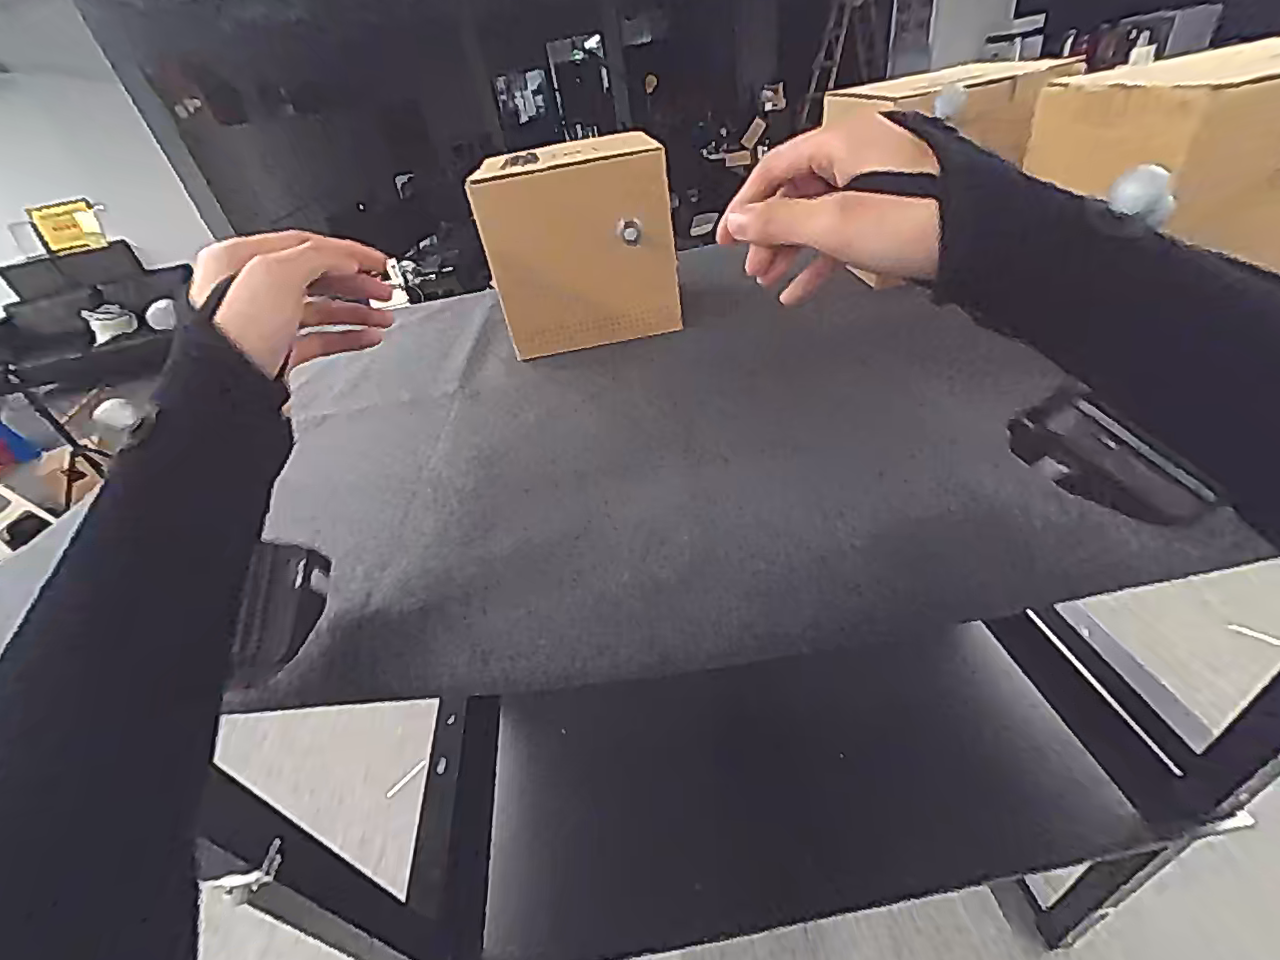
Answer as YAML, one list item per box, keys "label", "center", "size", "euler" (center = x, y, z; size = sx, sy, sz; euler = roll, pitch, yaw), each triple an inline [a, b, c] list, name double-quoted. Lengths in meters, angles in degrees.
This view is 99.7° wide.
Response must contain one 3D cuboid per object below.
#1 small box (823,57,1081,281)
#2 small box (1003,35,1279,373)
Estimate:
- label: "small box"
  center: [0.305, -0.324, 0.575]
  size: [0.168, 0.176, 0.179]
  euler: [-10, 36, 2]
- label: "small box"
  center: [0.393, -0.190, 0.372]
  size: [0.179, 0.176, 0.168]
  euler: [-6, 35, 9]
